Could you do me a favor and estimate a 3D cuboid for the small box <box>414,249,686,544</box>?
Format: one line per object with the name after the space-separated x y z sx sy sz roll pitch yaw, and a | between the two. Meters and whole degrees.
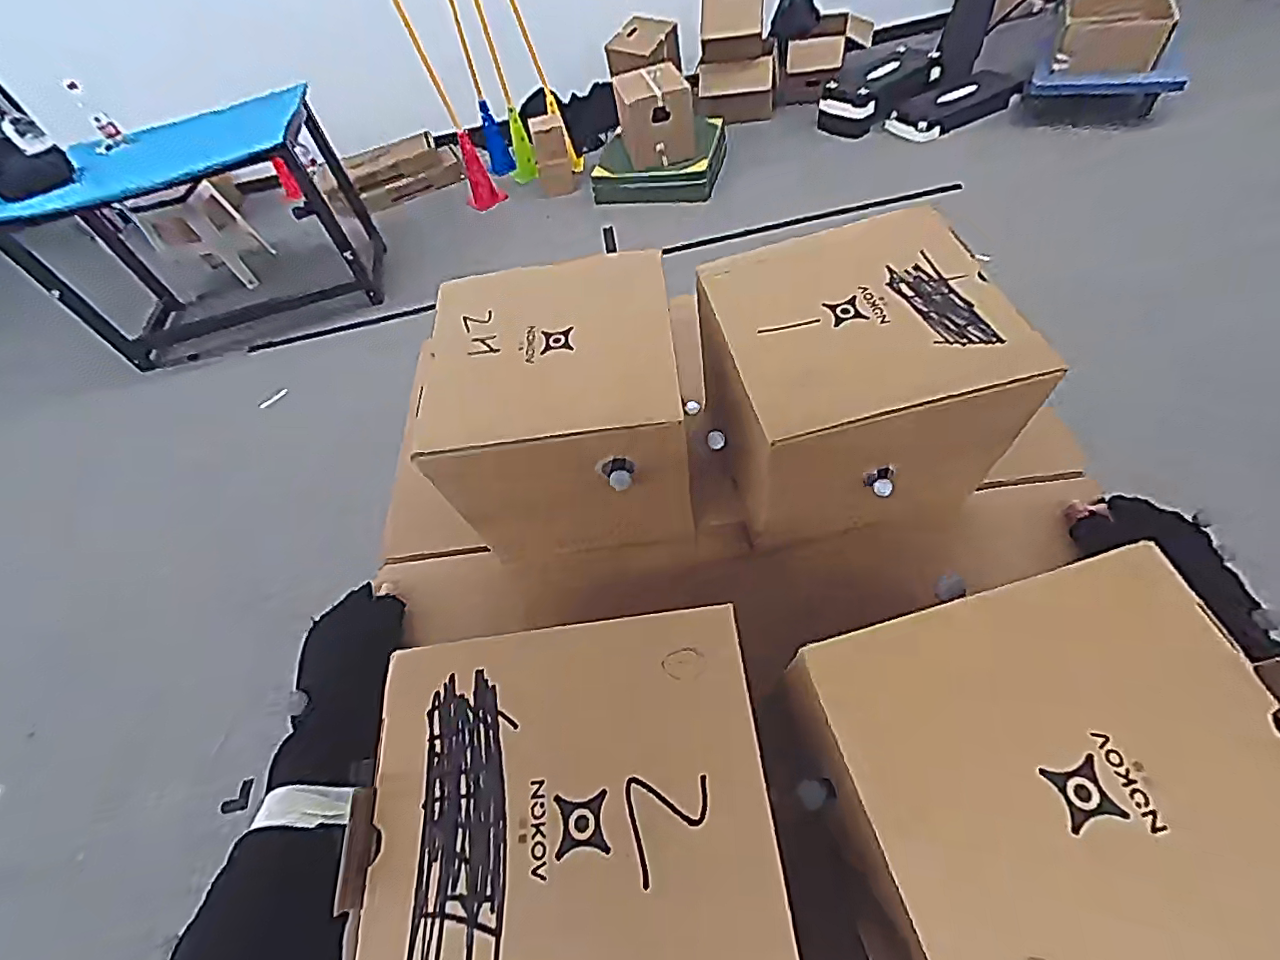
-0.055 -0.059 0.453 0.179 0.176 0.168 -7 58 5 | small box
